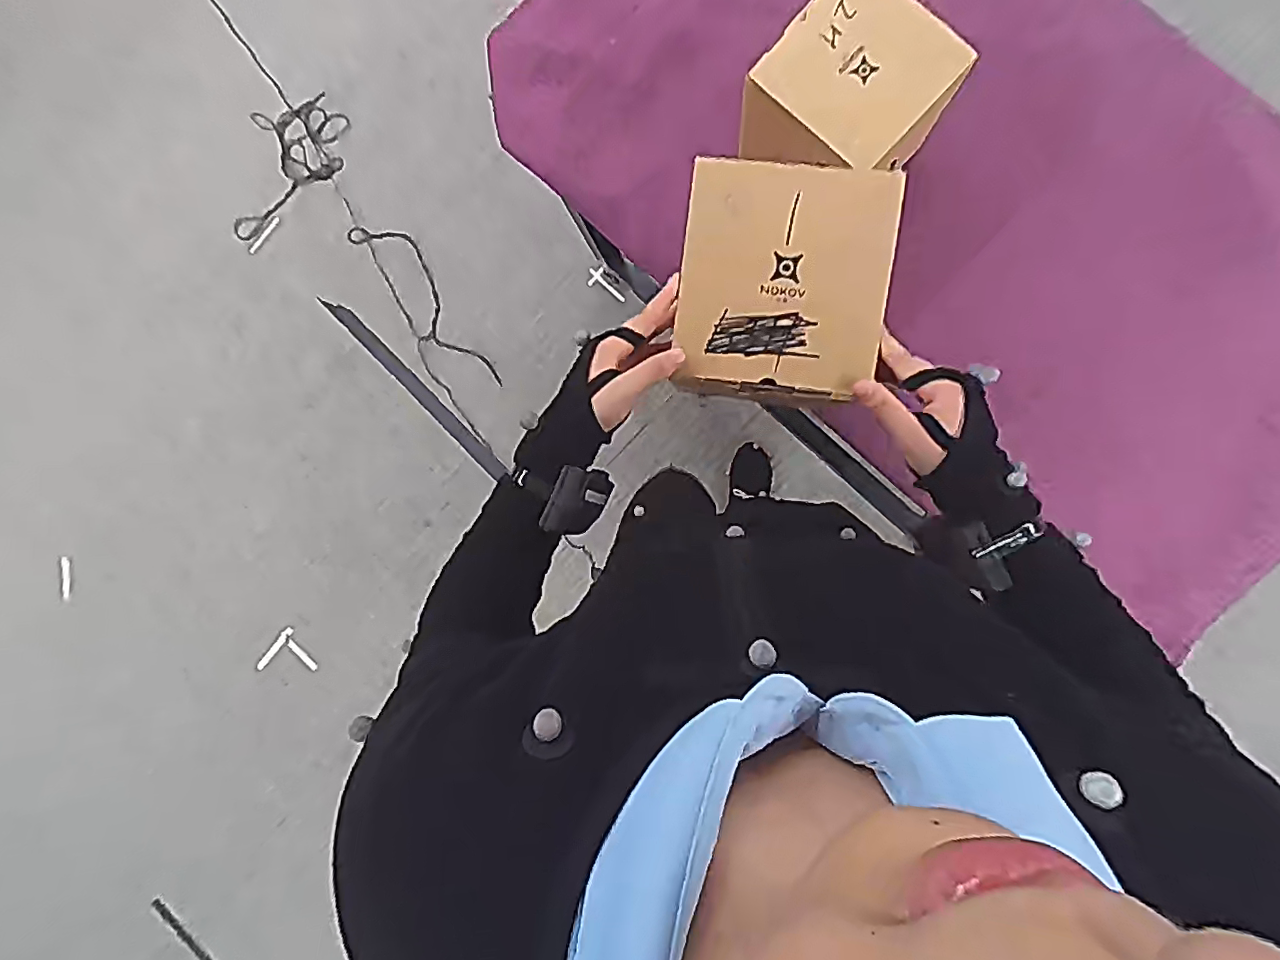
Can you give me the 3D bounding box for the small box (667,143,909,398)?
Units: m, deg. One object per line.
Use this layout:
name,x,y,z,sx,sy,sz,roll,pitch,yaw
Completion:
small box,0.121,-0.174,0.503,0.168,0.176,0.179,8,95,4

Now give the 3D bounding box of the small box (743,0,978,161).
small box,0.243,-0.444,0.648,0.179,0.176,0.168,45,96,5

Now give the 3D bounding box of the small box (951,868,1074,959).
small box,0.892,1.090,1.289,0.168,0.176,0.179,-41,86,9
